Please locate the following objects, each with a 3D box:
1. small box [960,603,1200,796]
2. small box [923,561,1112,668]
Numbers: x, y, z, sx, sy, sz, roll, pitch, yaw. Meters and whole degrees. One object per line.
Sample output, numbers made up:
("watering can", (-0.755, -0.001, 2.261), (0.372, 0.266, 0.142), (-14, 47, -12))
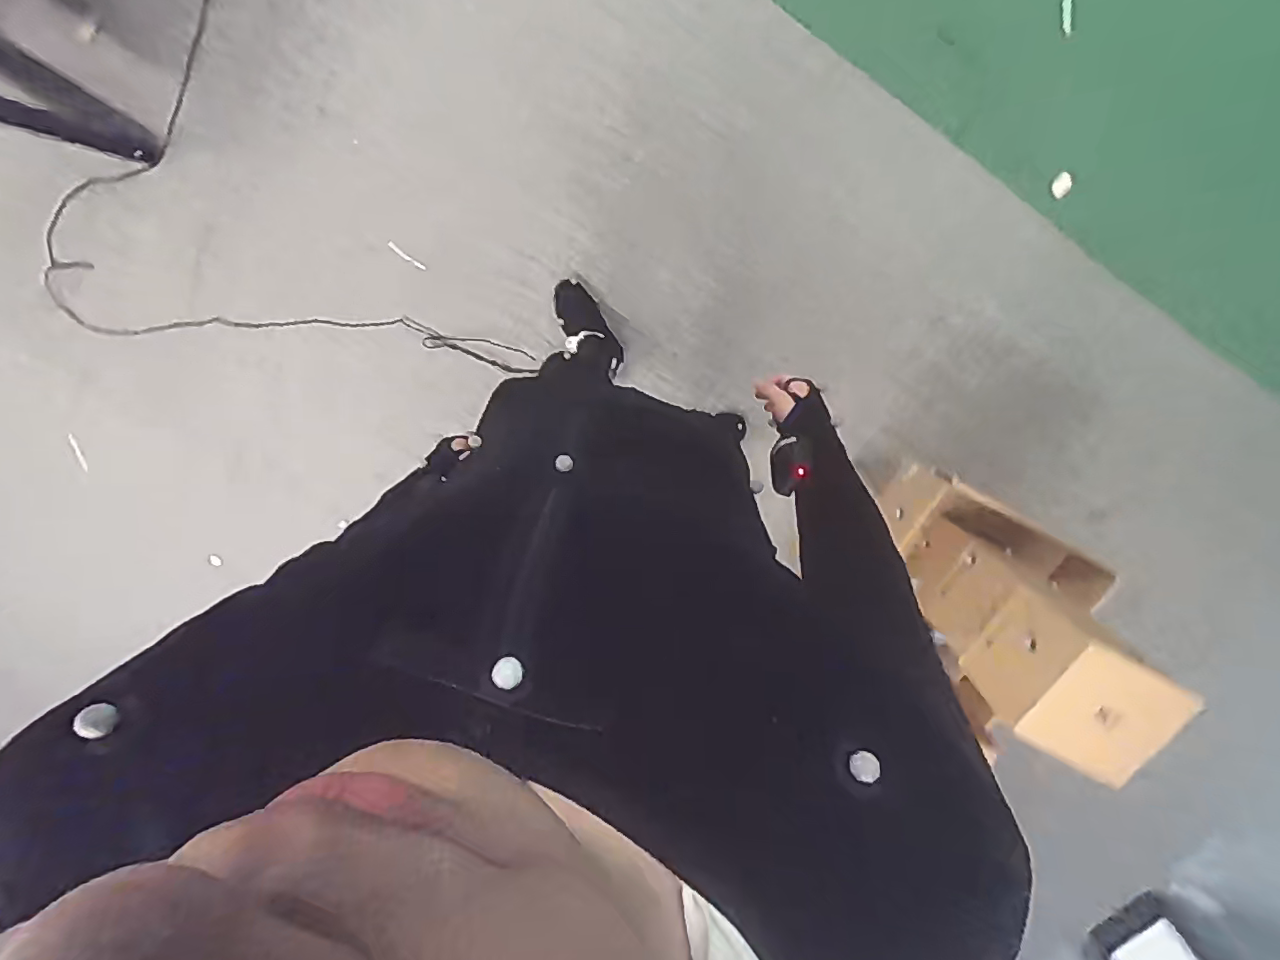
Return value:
("small box", (0.621, 0.307, 0.795), (0.179, 0.176, 0.168), (28, 106, -3))
("small box", (0.643, 0.264, 0.949), (0.179, 0.176, 0.168), (30, 106, -4))
